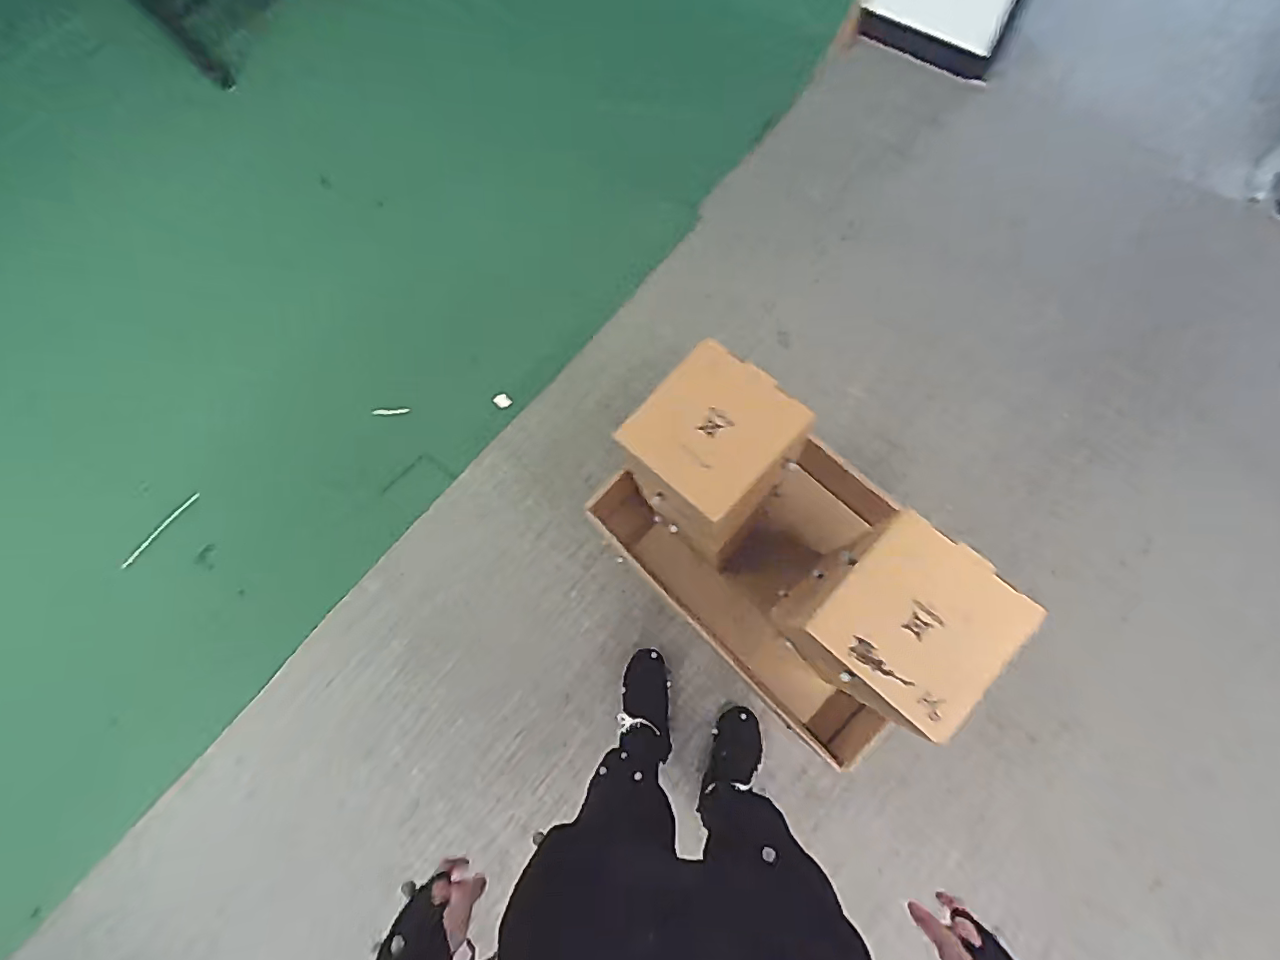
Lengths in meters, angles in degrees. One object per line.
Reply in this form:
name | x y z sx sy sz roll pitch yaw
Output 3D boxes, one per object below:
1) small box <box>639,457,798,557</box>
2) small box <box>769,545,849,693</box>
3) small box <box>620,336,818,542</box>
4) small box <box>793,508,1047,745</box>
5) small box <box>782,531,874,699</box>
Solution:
small box | 0.122 0.000 0.863 0.168 0.176 0.179 42 83 17
small box | 0.343 0.238 0.939 0.179 0.176 0.168 -42 74 -5
small box | 0.099 -0.044 0.708 0.168 0.176 0.179 43 83 18
small box | 0.298 0.162 0.622 0.168 0.176 0.179 42 83 17
small box | 0.323 0.203 0.780 0.168 0.176 0.179 42 83 15
